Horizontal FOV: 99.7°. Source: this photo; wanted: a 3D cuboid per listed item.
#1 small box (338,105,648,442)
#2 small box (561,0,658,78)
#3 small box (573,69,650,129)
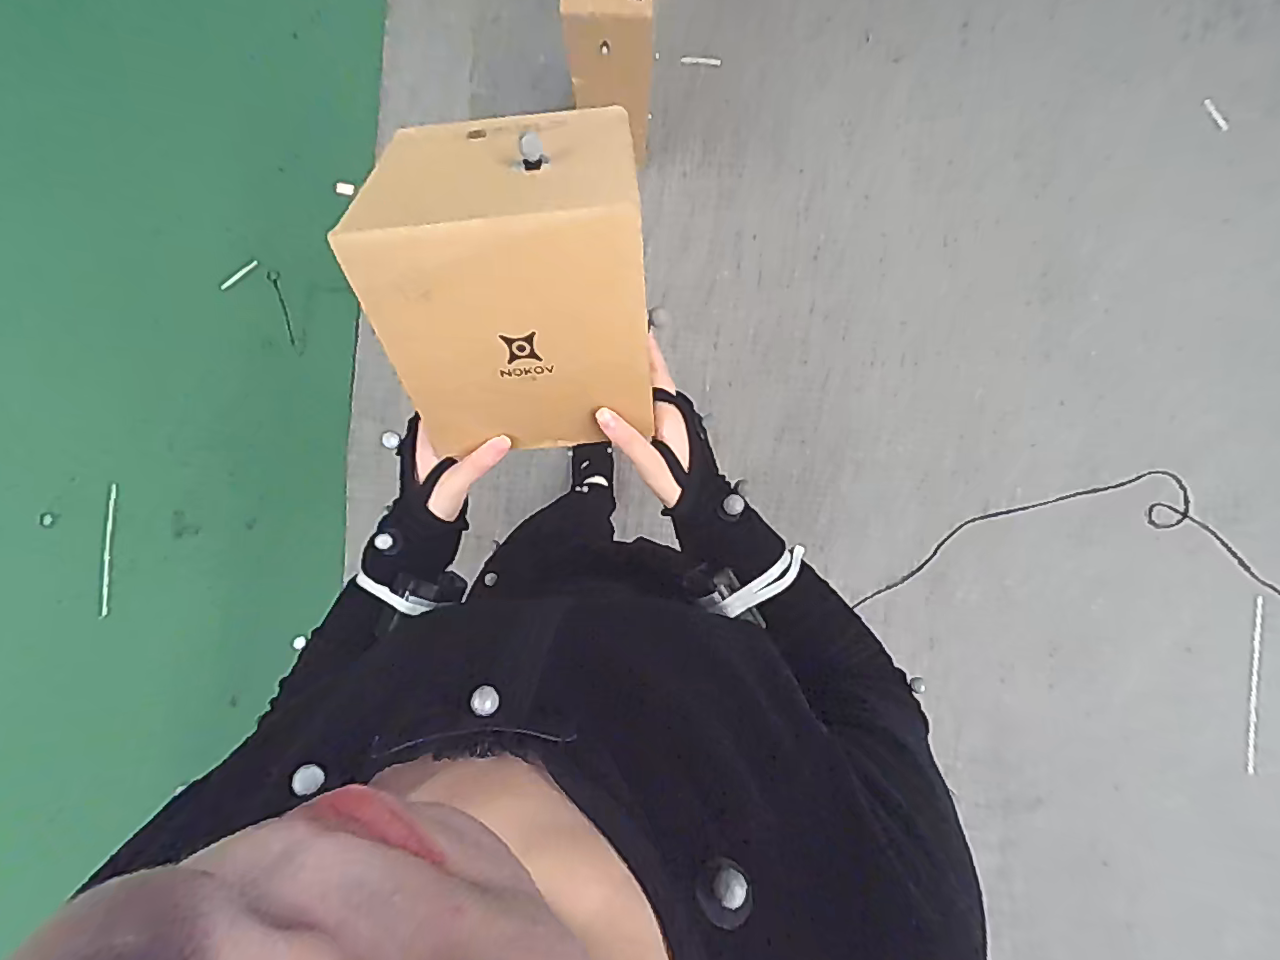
[{"bbox_3d":[-0.085,-0.154,0.403,0.168,0.179,0.176,-5,52,0],"label":"small box"},{"bbox_3d":[-0.054,-0.937,1.072,0.179,0.176,0.168,3,91,1],"label":"small box"},{"bbox_3d":[-0.060,-0.945,1.236,0.168,0.176,0.179,1,91,1],"label":"small box"}]
